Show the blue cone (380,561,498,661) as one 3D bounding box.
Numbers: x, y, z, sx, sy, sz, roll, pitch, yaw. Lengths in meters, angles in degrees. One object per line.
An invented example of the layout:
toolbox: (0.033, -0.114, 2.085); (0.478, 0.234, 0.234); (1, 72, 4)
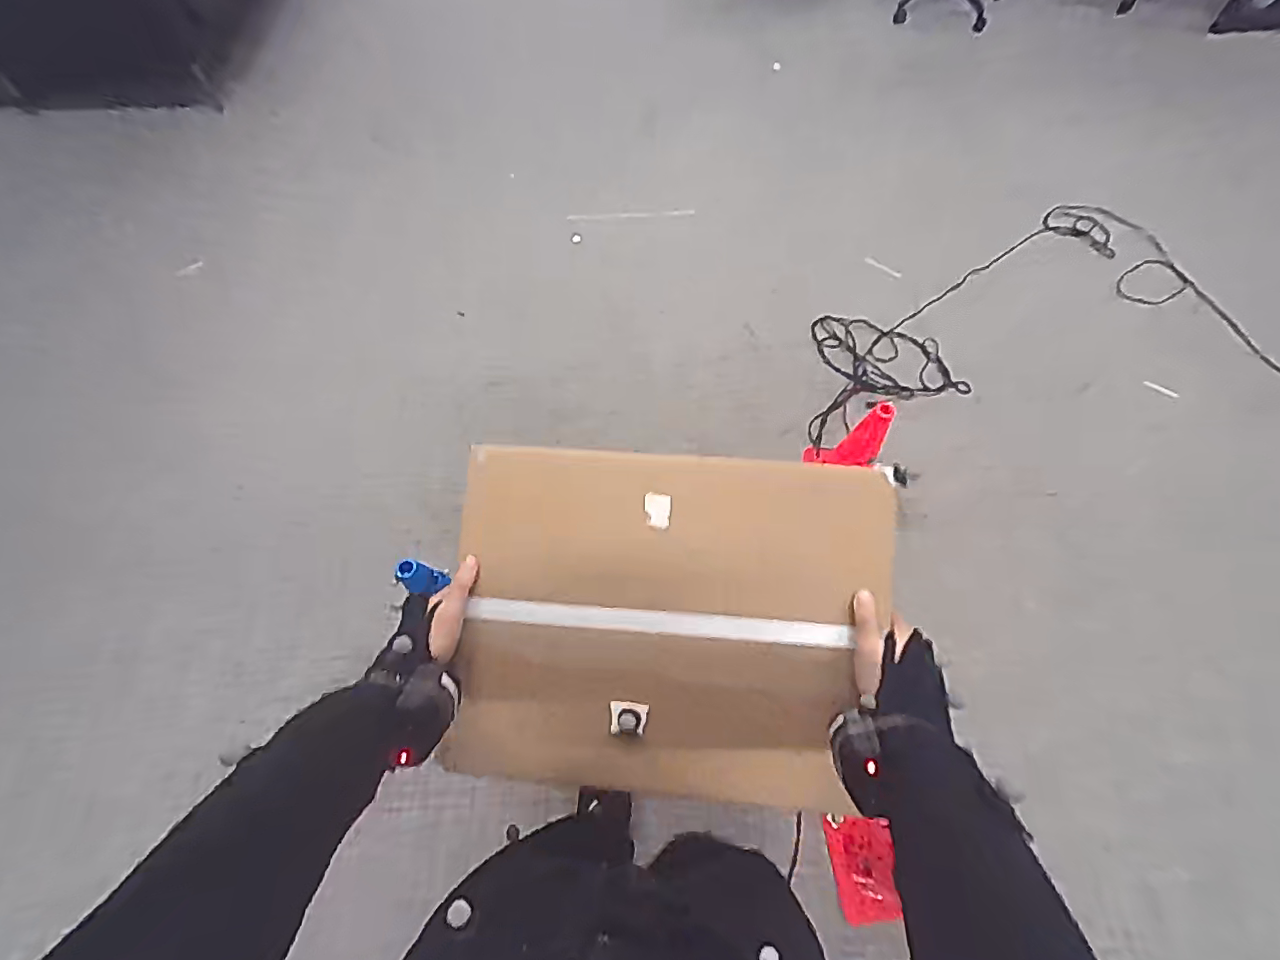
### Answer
blue cone: (-0.445, 0.253, 1.155); (0.192, 0.380, 0.193); (-1, 61, 1)

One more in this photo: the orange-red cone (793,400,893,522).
orange-red cone: (0.521, -0.074, 1.292); (0.199, 0.360, 0.198); (17, 64, 9)

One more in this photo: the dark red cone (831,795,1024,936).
dark red cone: (0.474, 0.647, 0.871); (0.202, 0.394, 0.201); (-8, 64, -3)
